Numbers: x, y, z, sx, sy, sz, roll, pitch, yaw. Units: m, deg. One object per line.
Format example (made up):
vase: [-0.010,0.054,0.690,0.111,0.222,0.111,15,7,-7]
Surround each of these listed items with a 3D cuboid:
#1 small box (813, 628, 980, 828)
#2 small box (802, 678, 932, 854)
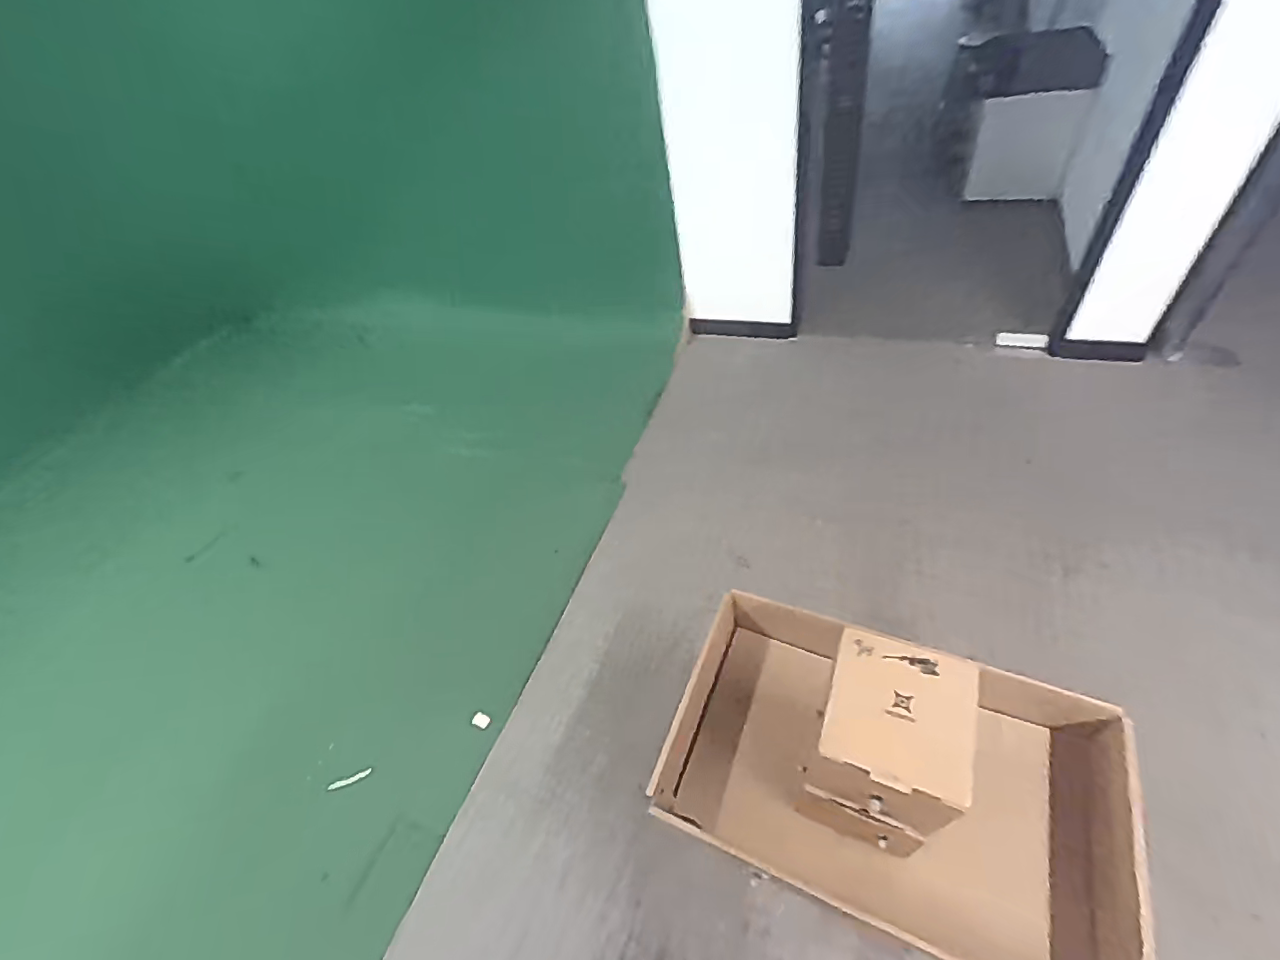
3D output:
small box: [0.335,0.336,0.728,0.168,0.176,0.179,14,54,22]
small box: [0.356,0.448,0.846,0.168,0.176,0.179,13,51,21]
